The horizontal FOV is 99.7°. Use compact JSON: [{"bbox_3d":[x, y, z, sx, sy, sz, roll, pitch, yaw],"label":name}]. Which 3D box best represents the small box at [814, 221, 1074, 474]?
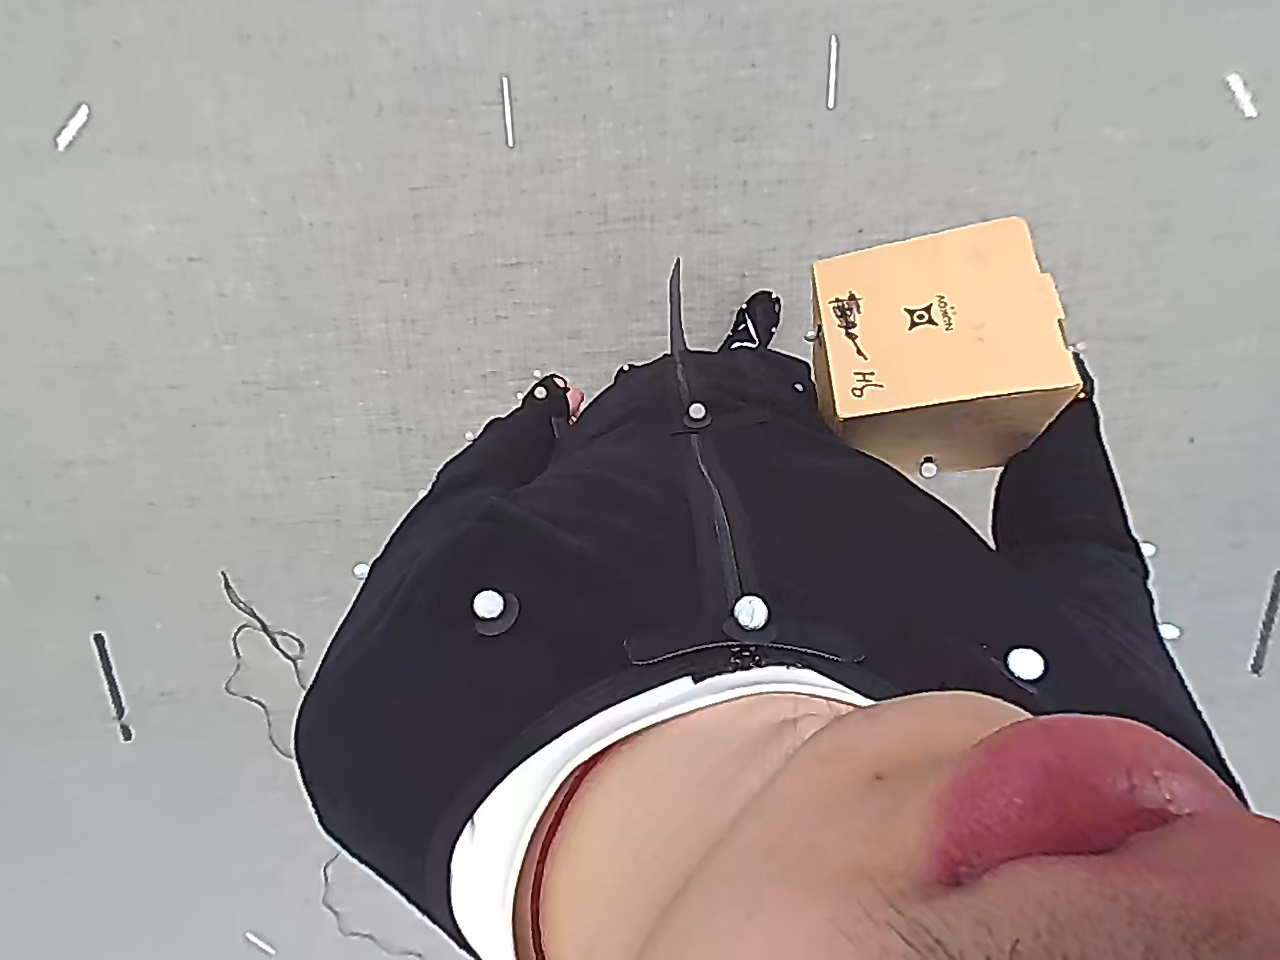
[{"bbox_3d":[0.274,-0.115,0.538,0.179,0.176,0.168,-7,68,15],"label":"small box"}]
